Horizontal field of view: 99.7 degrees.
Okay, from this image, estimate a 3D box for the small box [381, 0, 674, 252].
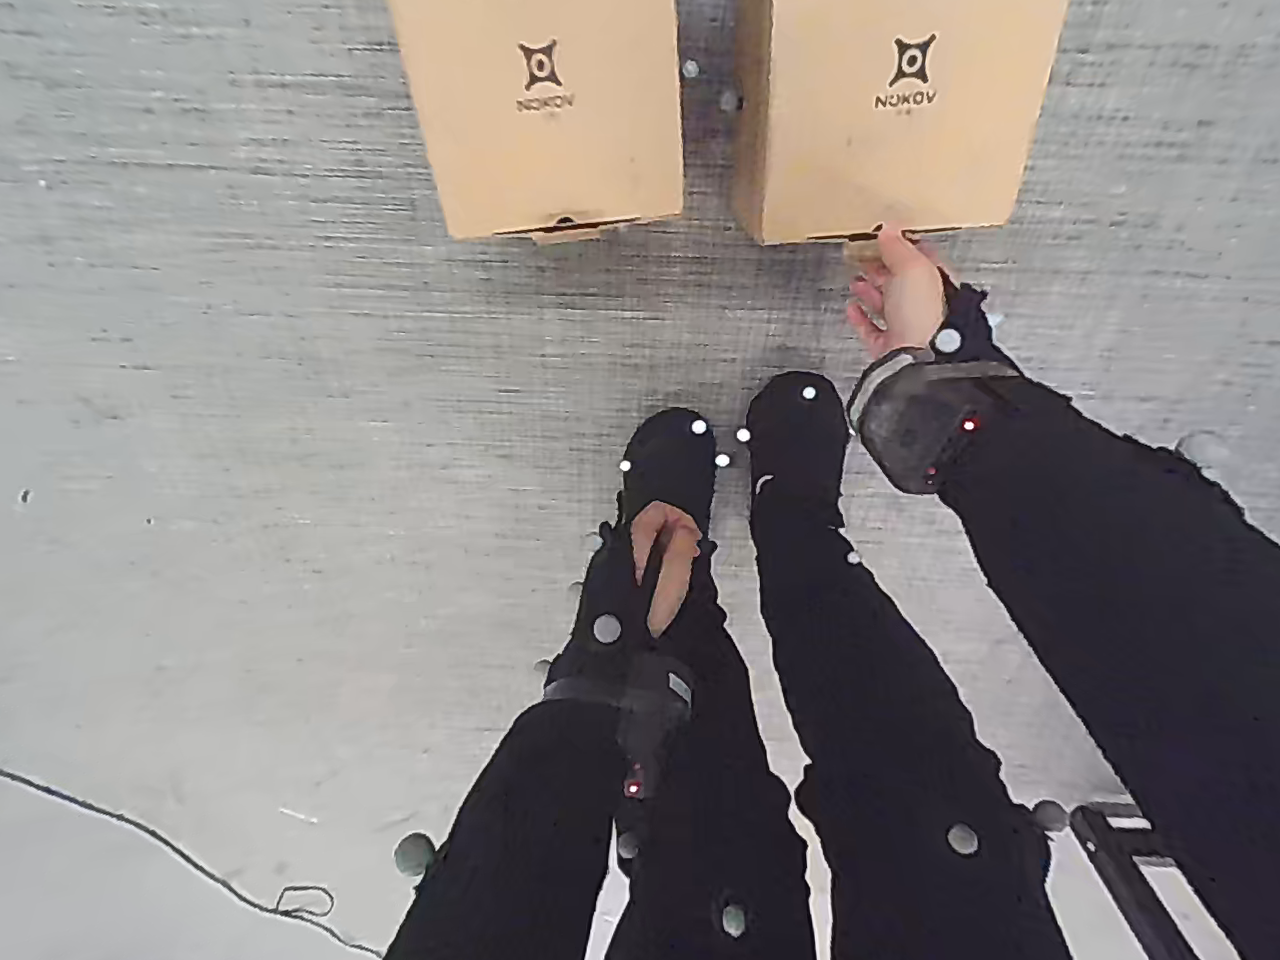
[{"bbox_3d":[-0.063,-0.284,0.402,0.168,0.176,0.179,-5,122,3],"label":"small box"}]
